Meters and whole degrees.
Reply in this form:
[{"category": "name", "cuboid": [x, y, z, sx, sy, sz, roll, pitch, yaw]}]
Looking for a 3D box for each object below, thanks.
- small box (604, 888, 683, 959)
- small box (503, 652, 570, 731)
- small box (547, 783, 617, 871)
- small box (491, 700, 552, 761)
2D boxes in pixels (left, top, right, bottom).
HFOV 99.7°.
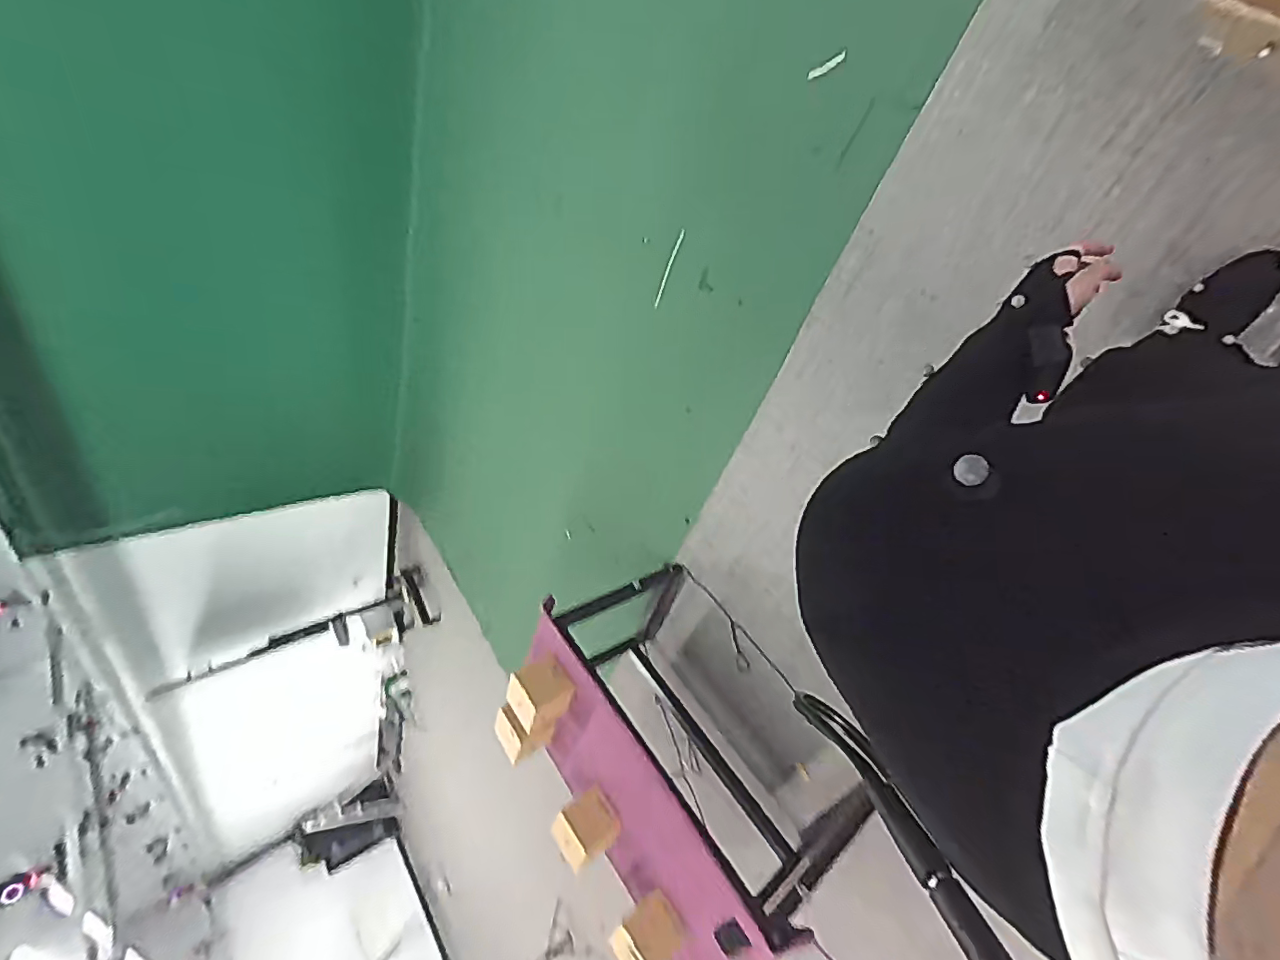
[{"category": "small box", "cuboid": [0.013, 1.465, 1.735, 0.168, 0.176, 0.179, 44, 131, 32]}, {"category": "small box", "cuboid": [-0.374, 0.763, 1.962, 0.168, 0.176, 0.179, 45, 133, 29]}, {"category": "small box", "cuboid": [-0.204, 1.224, 1.914, 0.168, 0.176, 0.179, 43, 130, 31]}, {"category": "small box", "cuboid": [-0.465, 0.961, 2.130, 0.168, 0.176, 0.179, 45, 132, 30]}]
